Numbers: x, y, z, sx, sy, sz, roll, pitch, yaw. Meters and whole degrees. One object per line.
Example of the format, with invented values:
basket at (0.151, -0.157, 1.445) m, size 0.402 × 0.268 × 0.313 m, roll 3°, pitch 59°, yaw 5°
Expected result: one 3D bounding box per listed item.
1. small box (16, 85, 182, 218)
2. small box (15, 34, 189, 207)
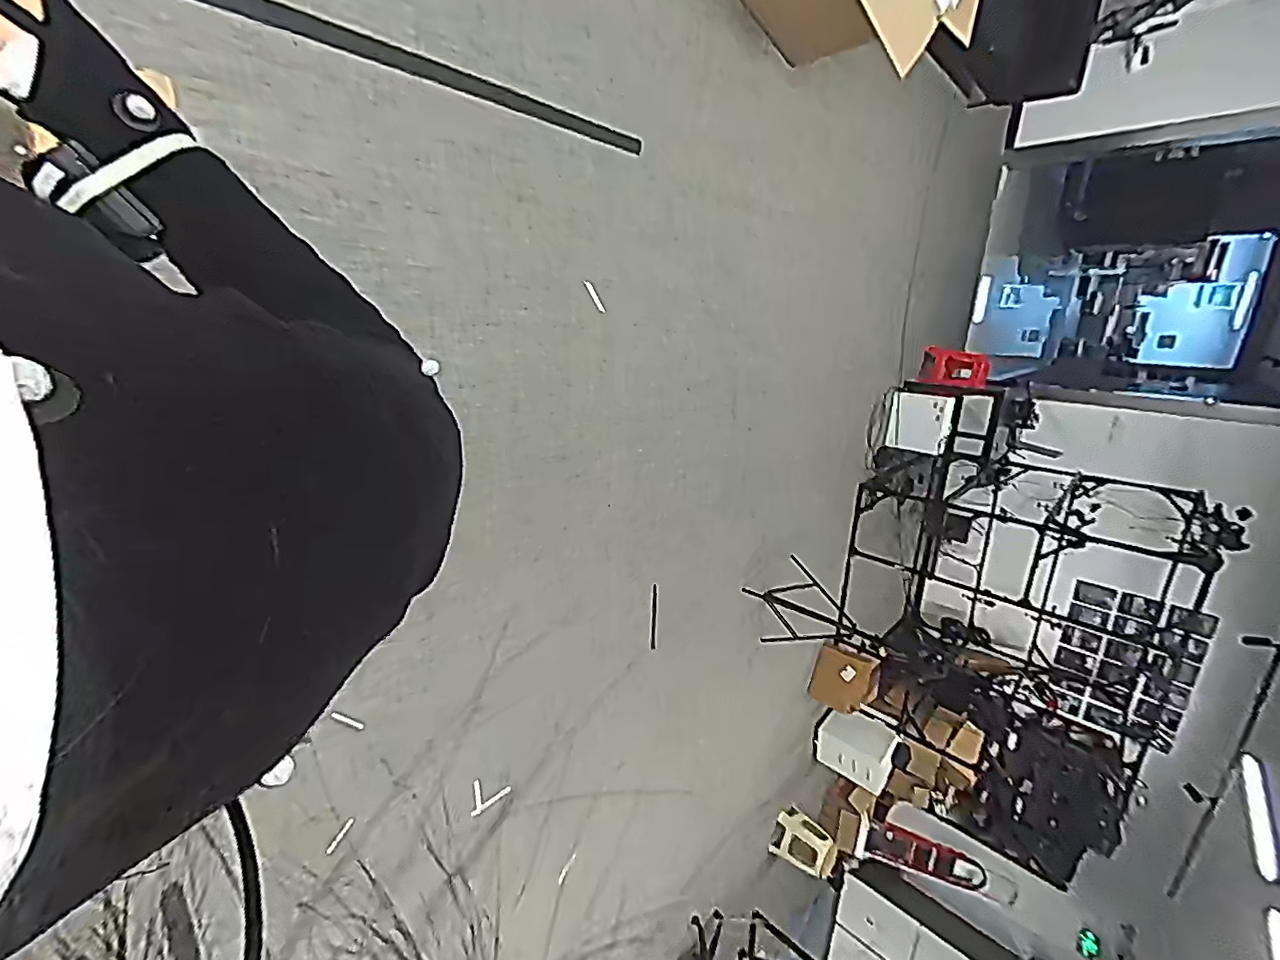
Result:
small box at (-0.959, -0.570, 0.961) m, size 0.179 × 0.176 × 0.168 m, roll -17°, pitch 115°, yaw -44°
small box at (-0.842, -0.544, 0.850) m, size 0.168 × 0.176 × 0.179 m, roll -14°, pitch 114°, yaw -45°
